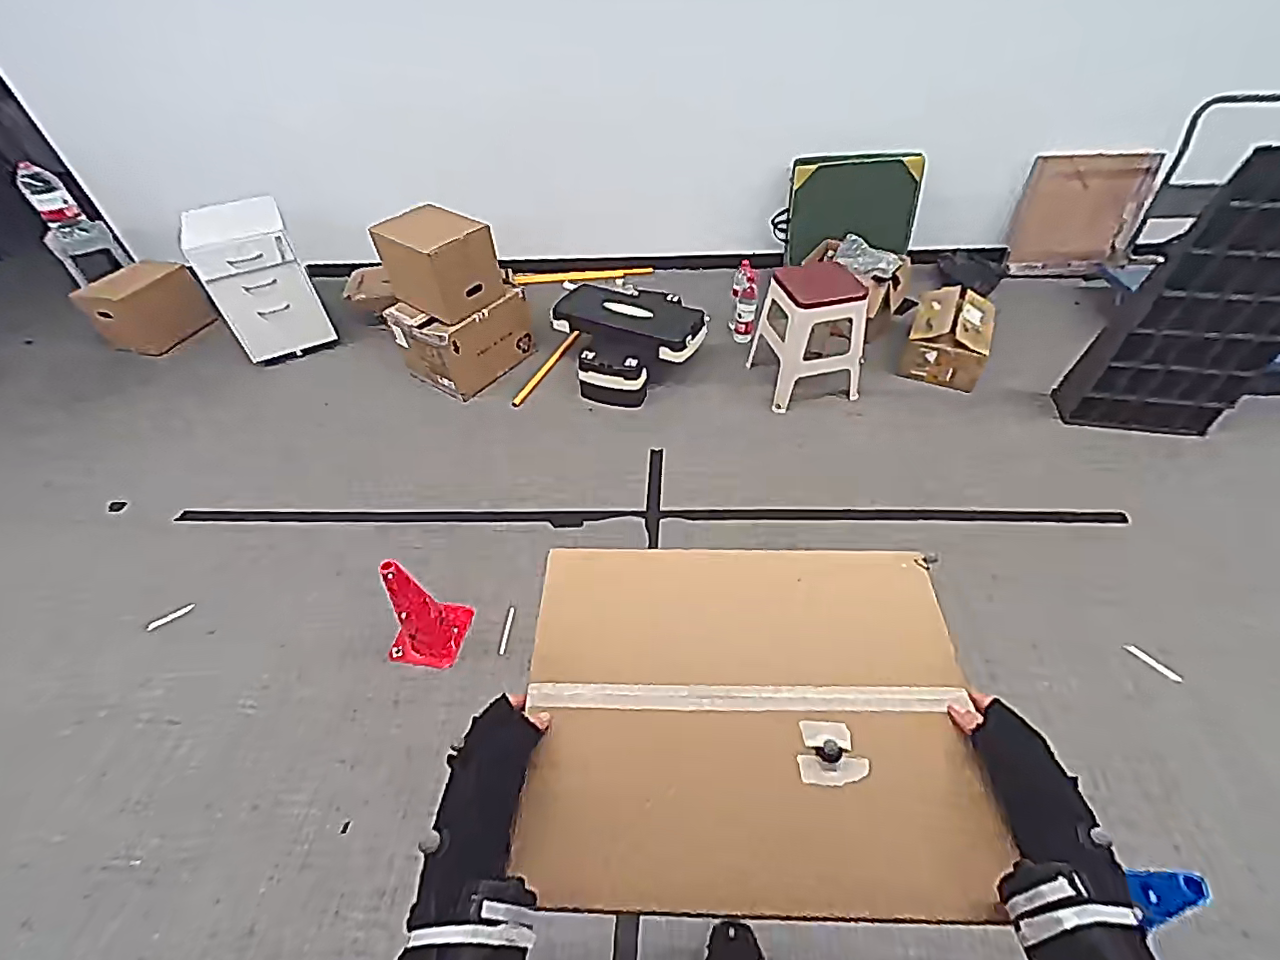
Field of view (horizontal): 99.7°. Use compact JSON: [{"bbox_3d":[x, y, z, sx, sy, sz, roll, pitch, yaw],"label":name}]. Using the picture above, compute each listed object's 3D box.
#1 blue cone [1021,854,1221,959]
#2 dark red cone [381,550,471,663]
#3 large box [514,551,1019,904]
[{"bbox_3d":[0.909,0.784,1.006,0.192,0.380,0.193,4,47,5],"label":"blue cone"},{"bbox_3d":[-0.625,0.328,1.485,0.201,0.394,0.202,5,47,7],"label":"dark red cone"},{"bbox_3d":[0.100,0.292,0.627,0.408,0.320,0.320,0,53,2],"label":"large box"}]
